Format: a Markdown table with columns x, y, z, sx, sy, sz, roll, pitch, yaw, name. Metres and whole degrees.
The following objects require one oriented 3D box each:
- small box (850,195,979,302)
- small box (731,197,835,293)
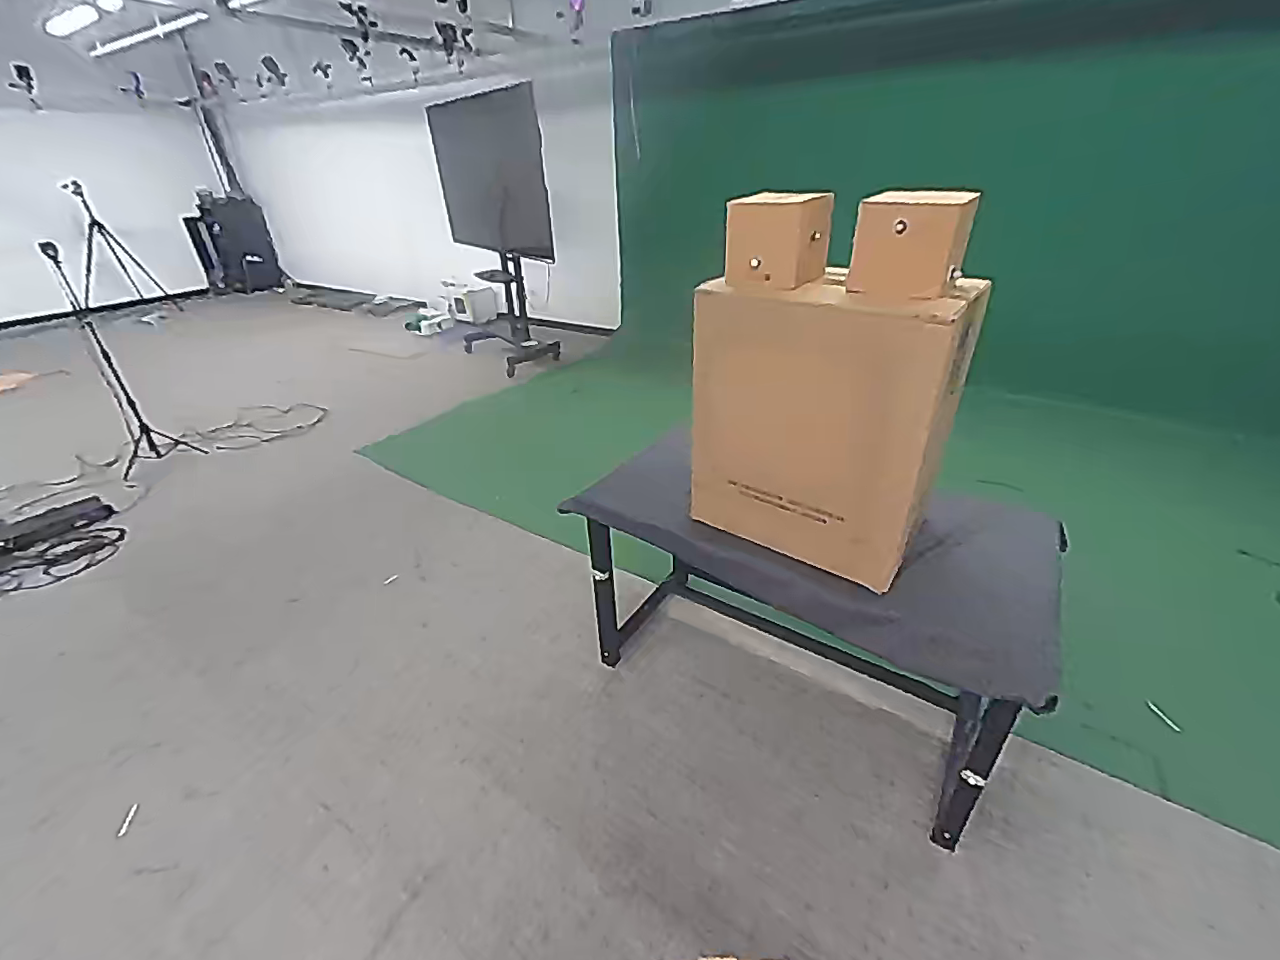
| x | y | z | sx | sy | sz | roll | pitch | yaw | name |
| --- | --- | --- | --- | --- | --- | --- | --- | --- | --- |
| 0.536 | -0.460 | 1.071 | 0.179 | 0.176 | 0.168 | 22 | 41 | 31 | small box |
| 0.310 | -0.524 | 1.195 | 0.168 | 0.176 | 0.179 | 20 | 39 | 33 | small box |
